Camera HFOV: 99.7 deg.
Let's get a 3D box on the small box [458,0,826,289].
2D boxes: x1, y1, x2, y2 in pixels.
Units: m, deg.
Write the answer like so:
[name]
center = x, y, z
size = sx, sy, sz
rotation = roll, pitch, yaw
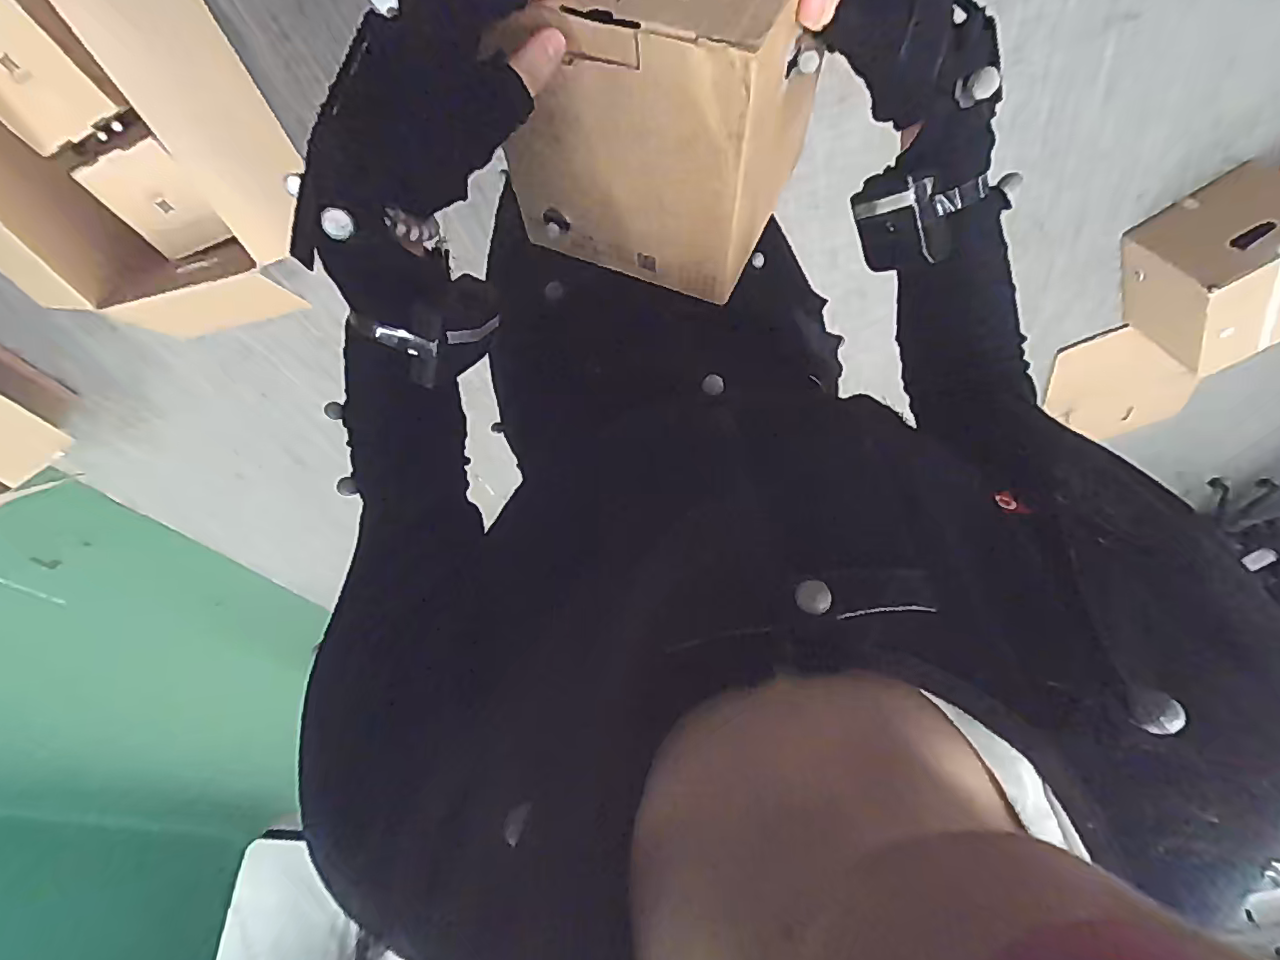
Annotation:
[small box]
center = 0.017, -0.264, 0.364
size = 0.168, 0.179, 0.176
rotation = 23, 160, 12
